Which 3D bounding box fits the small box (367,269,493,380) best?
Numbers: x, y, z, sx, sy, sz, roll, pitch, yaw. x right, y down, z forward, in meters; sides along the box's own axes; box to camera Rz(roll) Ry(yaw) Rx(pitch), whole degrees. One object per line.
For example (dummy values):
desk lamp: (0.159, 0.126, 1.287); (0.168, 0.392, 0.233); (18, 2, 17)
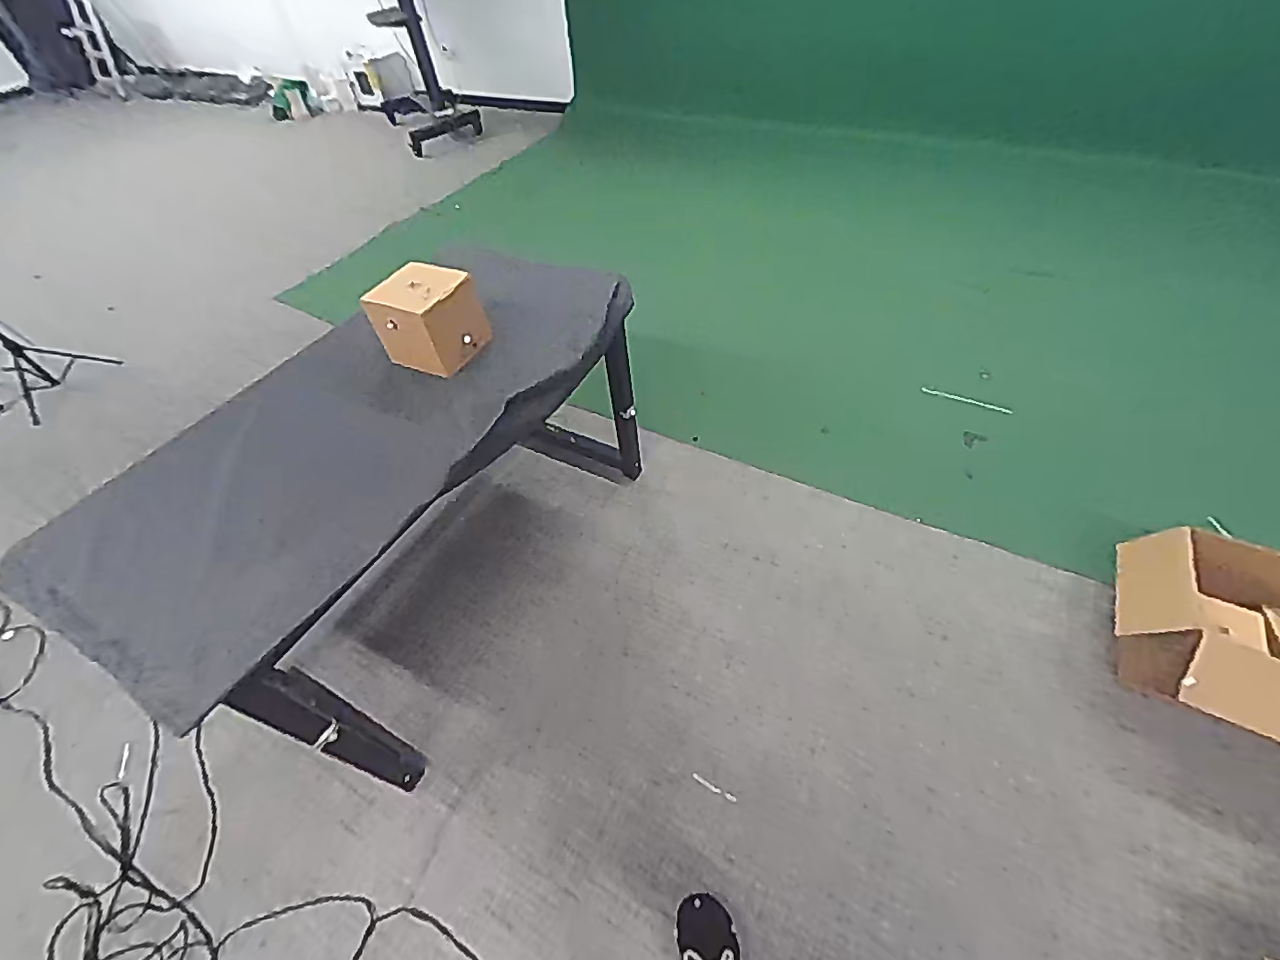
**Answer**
small box: (-0.466, -0.350, 1.225); (0.179, 0.176, 0.168); (18, 55, 20)
